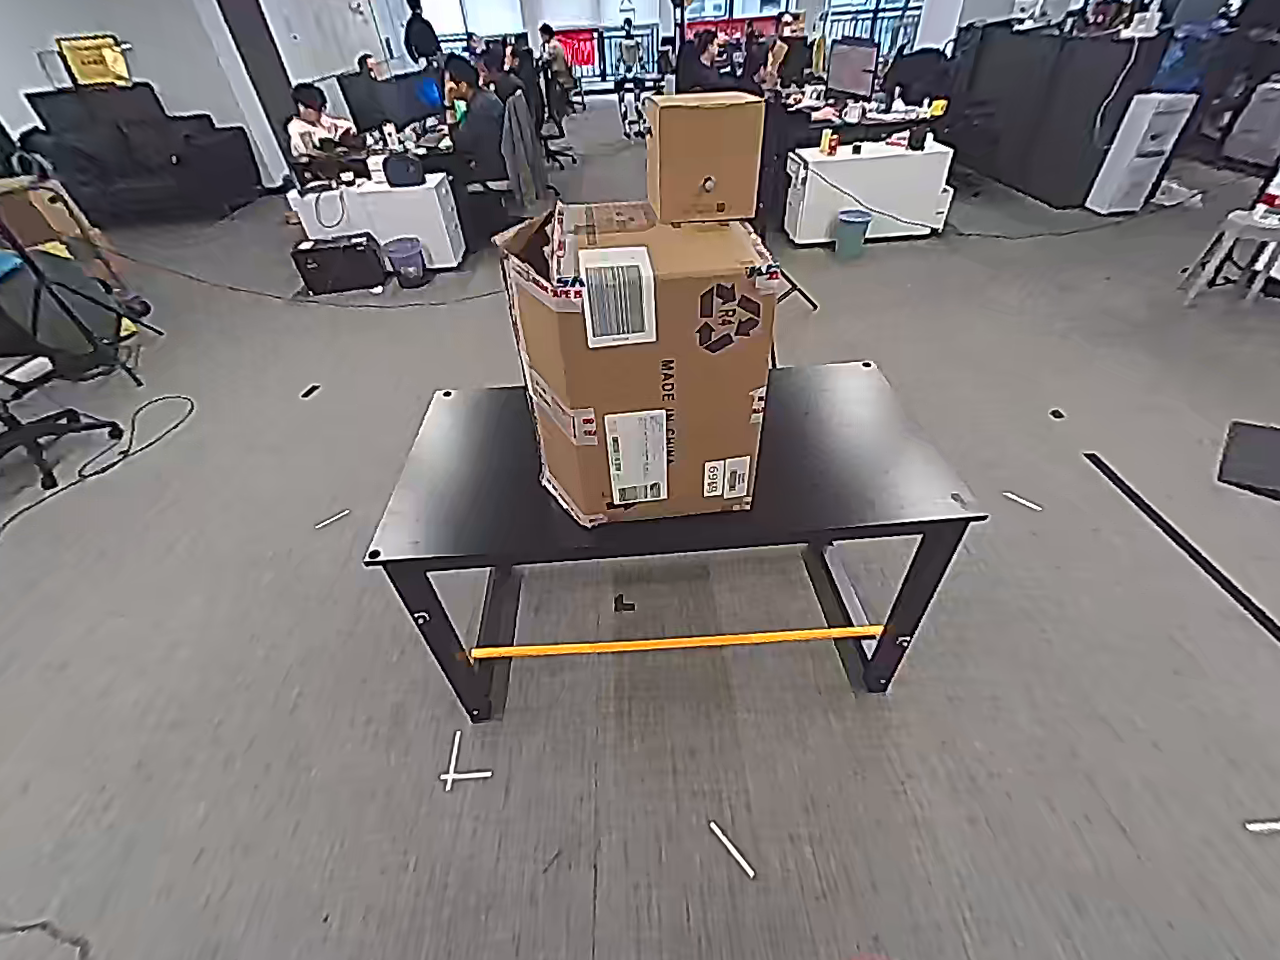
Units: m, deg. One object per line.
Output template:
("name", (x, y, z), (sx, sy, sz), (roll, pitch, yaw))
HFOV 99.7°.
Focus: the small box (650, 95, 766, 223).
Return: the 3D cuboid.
("small box", (0.107, -0.556, 0.937), (0.168, 0.176, 0.179), (-5, 40, -3))
